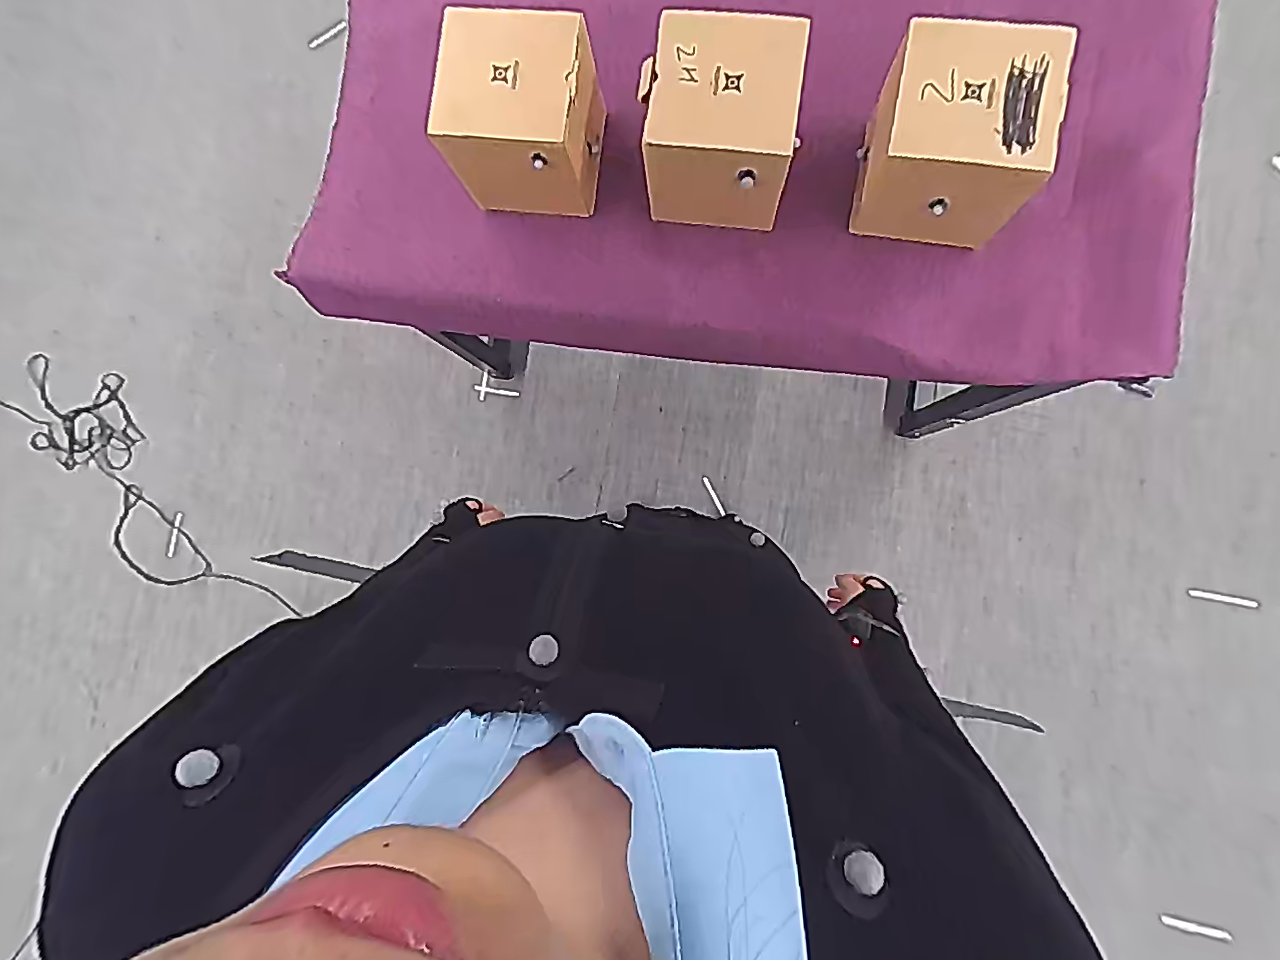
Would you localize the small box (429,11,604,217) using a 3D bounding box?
[{"bbox_3d":[-0.155,-0.482,0.734,0.179,0.176,0.168,7,87,5],"label":"small box"}]

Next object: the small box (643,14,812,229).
[{"bbox_3d":[0.108,-0.450,0.704,0.179,0.176,0.168,8,87,6],"label":"small box"}]
